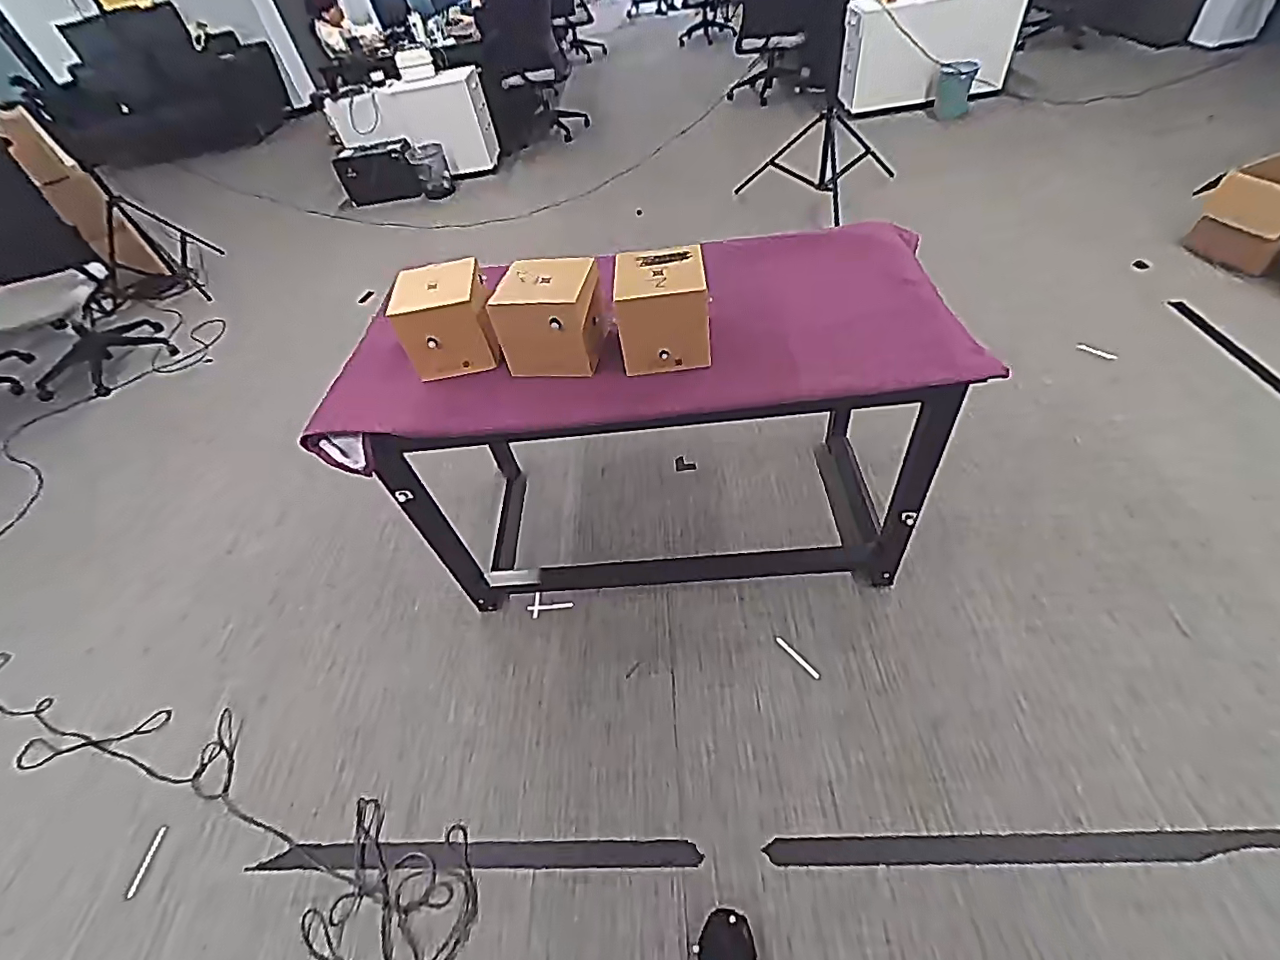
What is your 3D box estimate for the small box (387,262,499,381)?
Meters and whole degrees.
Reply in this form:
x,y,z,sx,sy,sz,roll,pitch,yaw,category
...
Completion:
x,y,z,sx,sy,sz,roll,pitch,yaw,category
-0.405,-0.327,1.144,0.168,0.176,0.179,-12,48,0,small box
